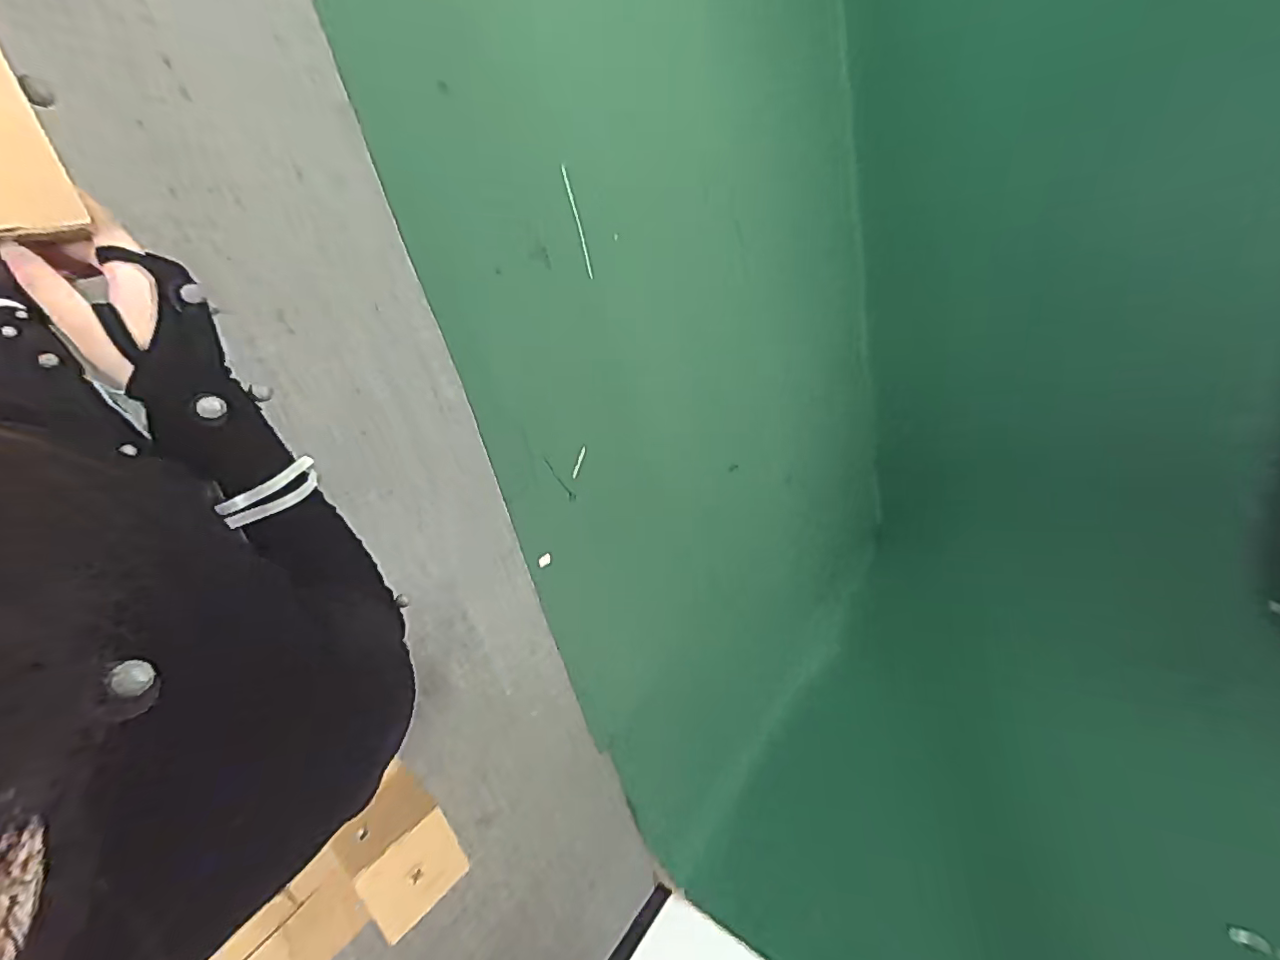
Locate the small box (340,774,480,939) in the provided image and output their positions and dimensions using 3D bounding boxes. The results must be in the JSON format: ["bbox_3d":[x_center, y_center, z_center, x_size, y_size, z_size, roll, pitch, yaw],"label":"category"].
[{"bbox_3d":[-0.446,0.706,1.043,0.168,0.176,0.179,-32,116,-38],"label":"small box"}]
